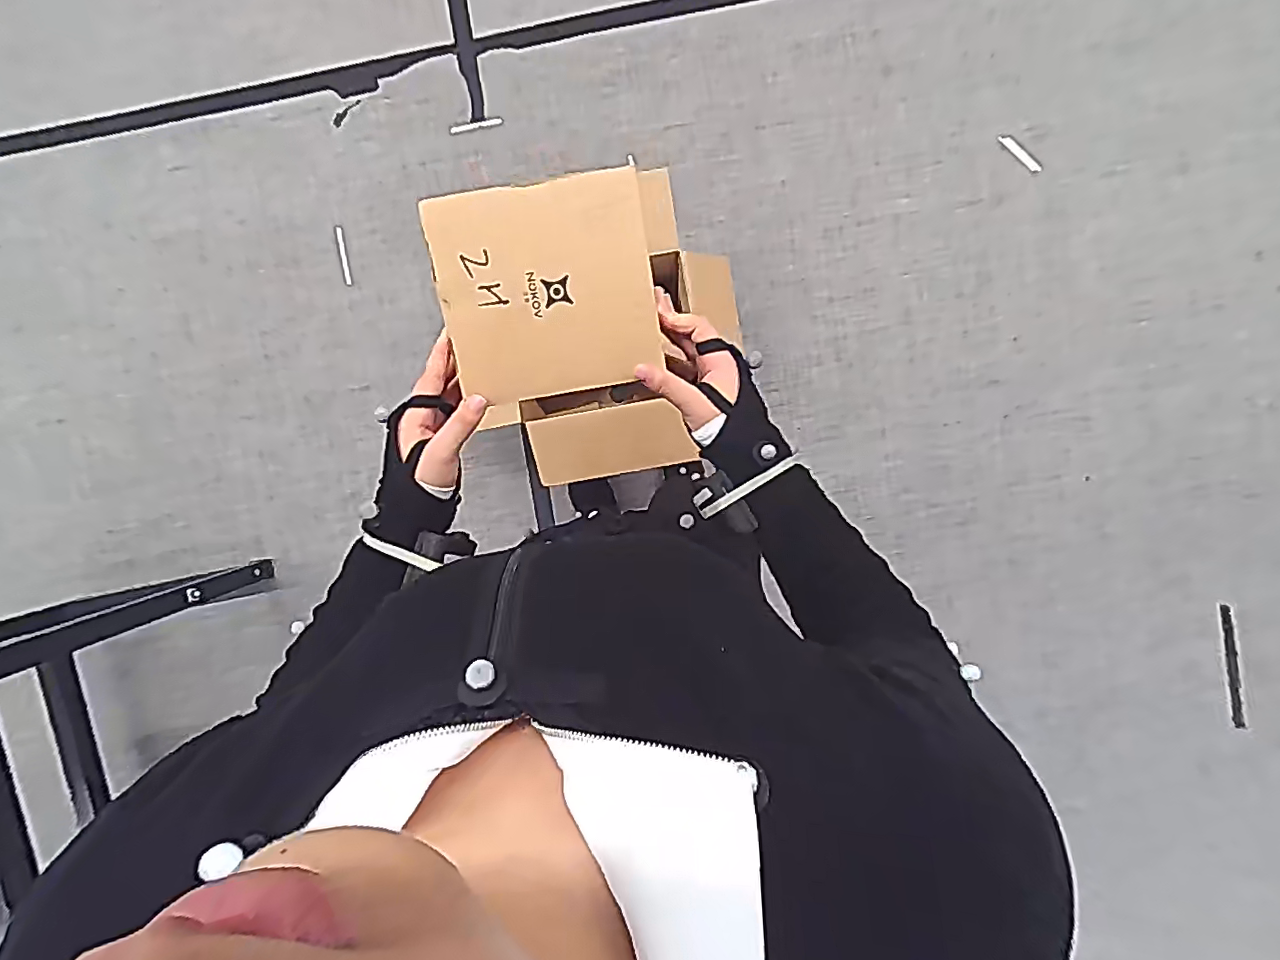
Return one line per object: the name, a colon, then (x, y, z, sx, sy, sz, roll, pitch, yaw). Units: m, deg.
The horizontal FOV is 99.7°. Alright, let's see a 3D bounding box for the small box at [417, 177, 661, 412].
small box: (-0.084, -0.168, 0.523, 0.179, 0.176, 0.168, -10, 103, 0)
